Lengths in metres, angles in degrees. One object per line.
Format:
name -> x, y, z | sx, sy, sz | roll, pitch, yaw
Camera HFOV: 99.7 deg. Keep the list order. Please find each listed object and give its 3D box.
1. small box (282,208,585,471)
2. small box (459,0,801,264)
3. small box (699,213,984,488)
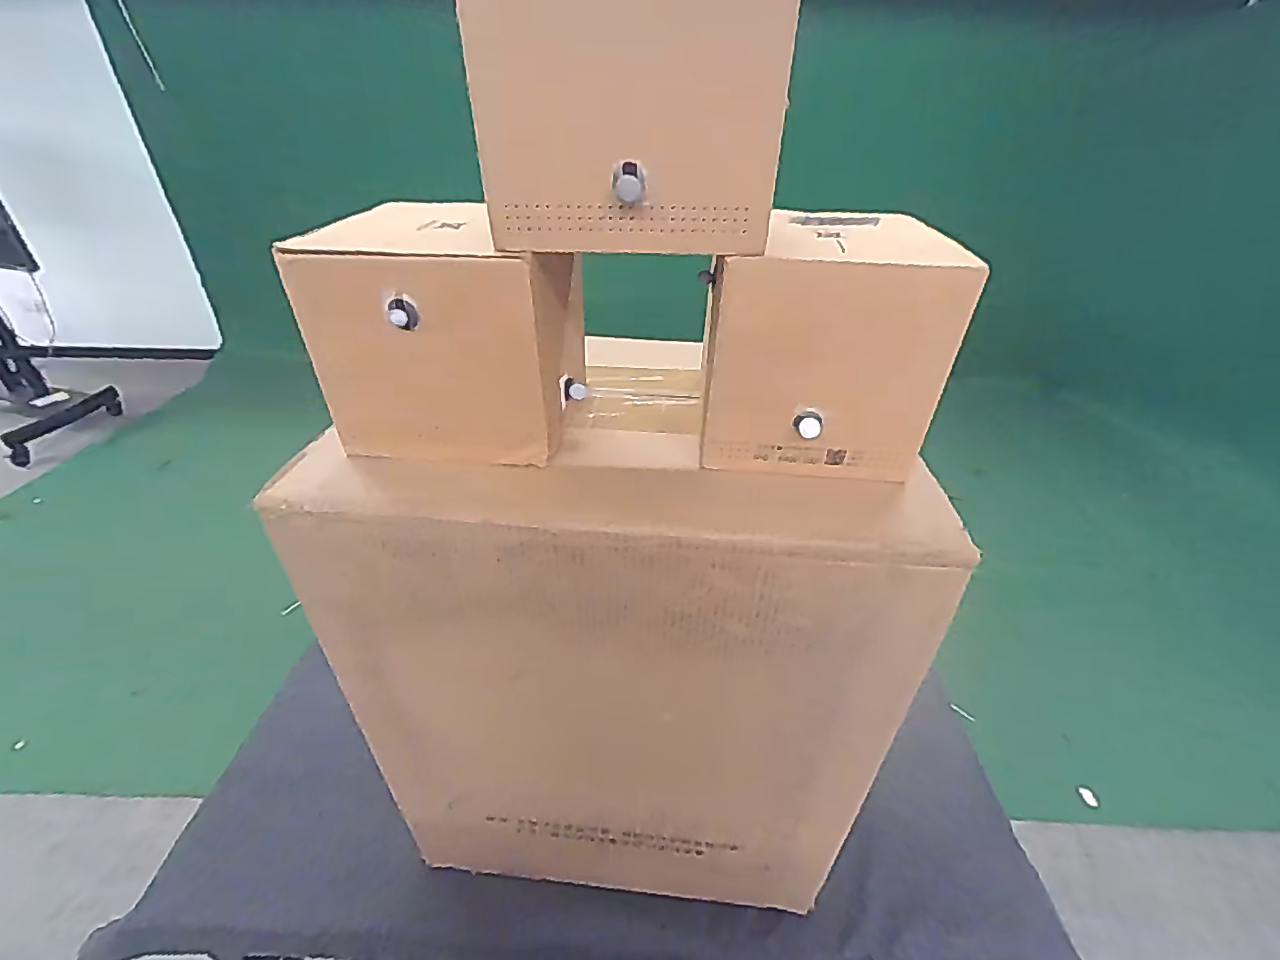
small box -> -0.147, -0.122, 0.462 | 0.179, 0.176, 0.168 | 5, 37, 3
small box -> -0.004, -0.251, 0.362 | 0.179, 0.176, 0.168 | 2, 37, 0
small box -> 0.139, -0.115, 0.456 | 0.168, 0.176, 0.179 | 4, 37, 3
